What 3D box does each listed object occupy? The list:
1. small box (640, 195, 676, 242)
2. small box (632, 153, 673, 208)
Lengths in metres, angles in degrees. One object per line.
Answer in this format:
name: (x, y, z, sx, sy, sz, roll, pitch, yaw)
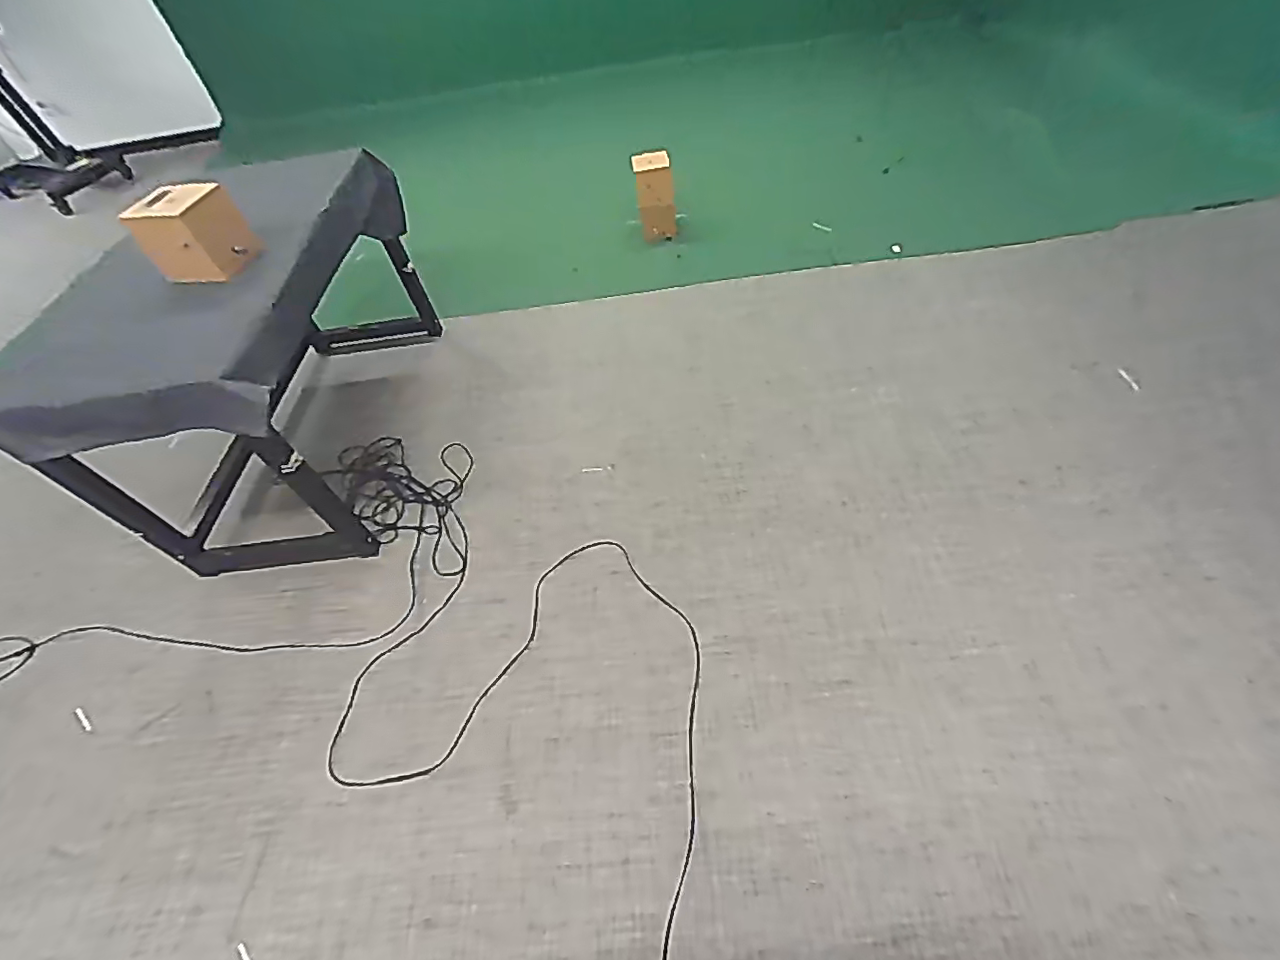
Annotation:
small box: (0.087, -1.304, 2.669, 0.168, 0.176, 0.179, -8, 52, 3)
small box: (0.059, -1.400, 2.540, 0.168, 0.176, 0.179, -8, 50, 3)
